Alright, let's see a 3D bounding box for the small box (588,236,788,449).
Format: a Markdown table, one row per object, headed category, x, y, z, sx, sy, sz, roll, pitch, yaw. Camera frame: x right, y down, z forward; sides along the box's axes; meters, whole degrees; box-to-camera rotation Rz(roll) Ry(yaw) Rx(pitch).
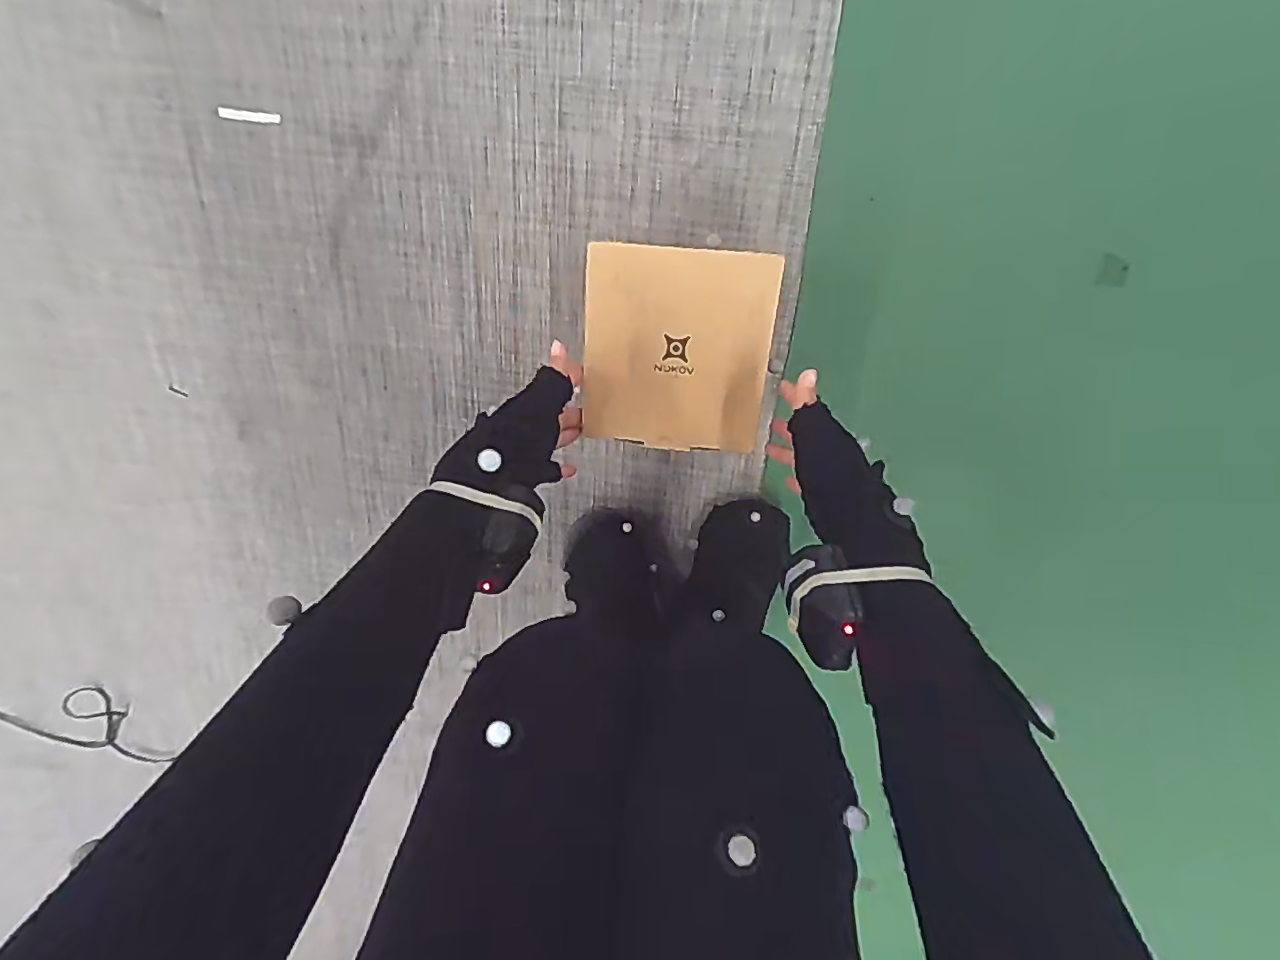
| category | x | y | z | sx | sy | sz | roll | pitch | yaw |
| --- | --- | --- | --- | --- | --- | --- | --- | --- | --- |
| small box | 0.045 | -0.147 | 0.558 | 0.168 | 0.176 | 0.179 | 6 | 113 | 5 |
